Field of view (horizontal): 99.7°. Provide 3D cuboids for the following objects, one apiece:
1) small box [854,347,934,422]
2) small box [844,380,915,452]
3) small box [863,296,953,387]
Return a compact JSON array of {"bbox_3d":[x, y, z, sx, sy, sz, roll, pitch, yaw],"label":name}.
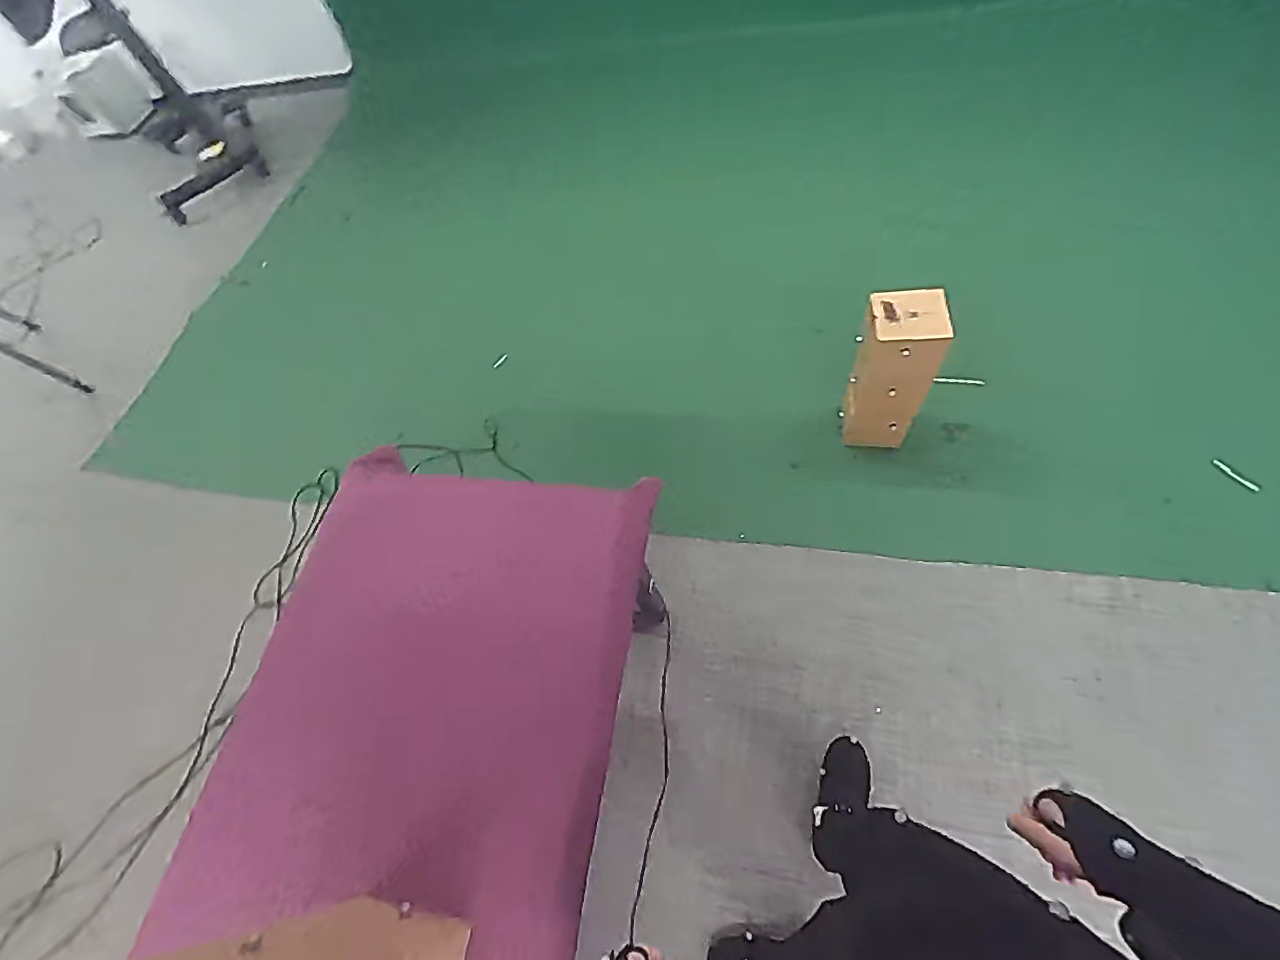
[{"bbox_3d":[0.732,-0.280,1.575,0.179,0.176,0.168,1,61,14],"label":"small box"},{"bbox_3d":[0.753,-0.200,1.714,0.179,0.176,0.168,4,62,14],"label":"small box"},{"bbox_3d":[0.699,-0.362,1.435,0.179,0.176,0.168,0,62,11],"label":"small box"}]
